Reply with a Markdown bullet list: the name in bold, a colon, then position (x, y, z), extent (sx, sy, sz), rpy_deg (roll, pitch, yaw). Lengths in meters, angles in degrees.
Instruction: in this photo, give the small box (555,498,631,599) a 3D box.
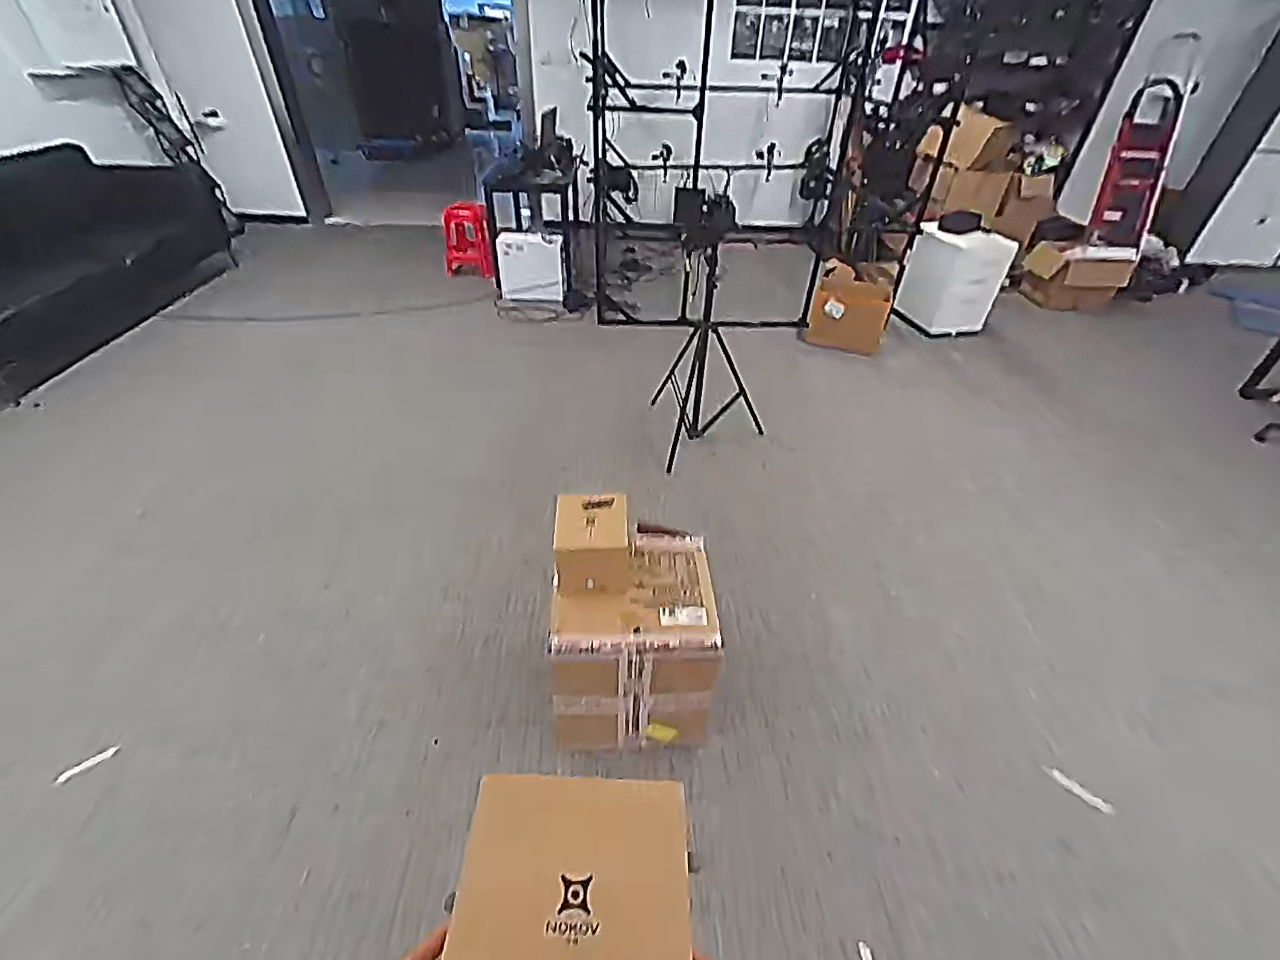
- **small box**: position (-0.107, 0.162, 1.290), extent (0.168, 0.176, 0.179), rpy_deg (-2, 42, -2)
